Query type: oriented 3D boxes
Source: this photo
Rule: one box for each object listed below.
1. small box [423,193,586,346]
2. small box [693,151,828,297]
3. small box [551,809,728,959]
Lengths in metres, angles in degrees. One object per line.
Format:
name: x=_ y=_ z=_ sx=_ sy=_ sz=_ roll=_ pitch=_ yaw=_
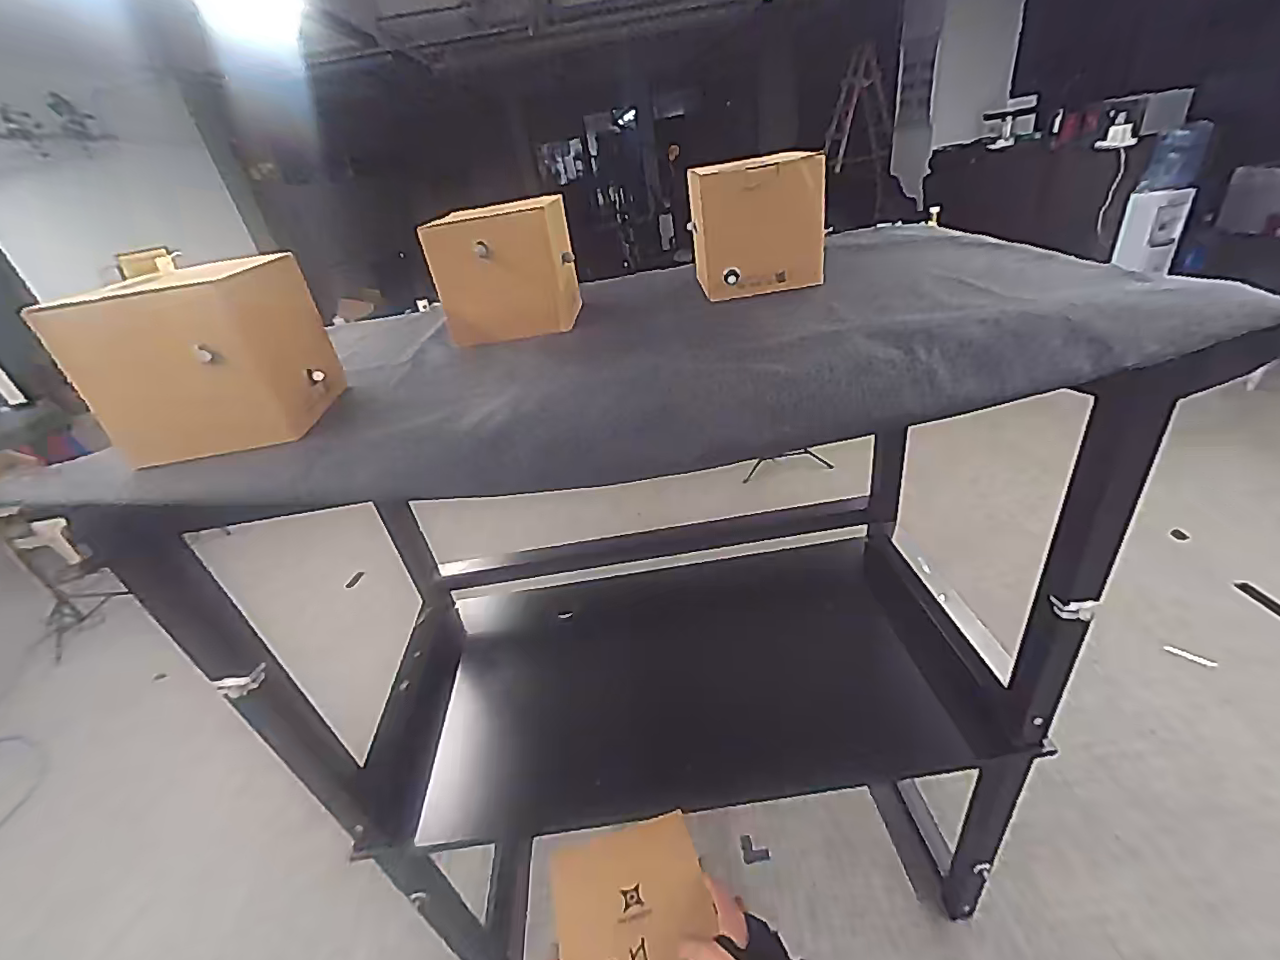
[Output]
small box: x=-0.185 y=-0.315 z=0.807 sx=0.179 sy=0.176 sz=0.168 roll=-7 pitch=32 yaw=6
small box: x=0.176 y=-0.382 z=0.813 sx=0.168 sy=0.176 sz=0.179 roll=-7 pitch=31 yaw=4
small box: x=0.000 y=0.525 z=0.607 sx=0.168 sy=0.176 sz=0.179 roll=-12 pitch=24 yaw=-9
